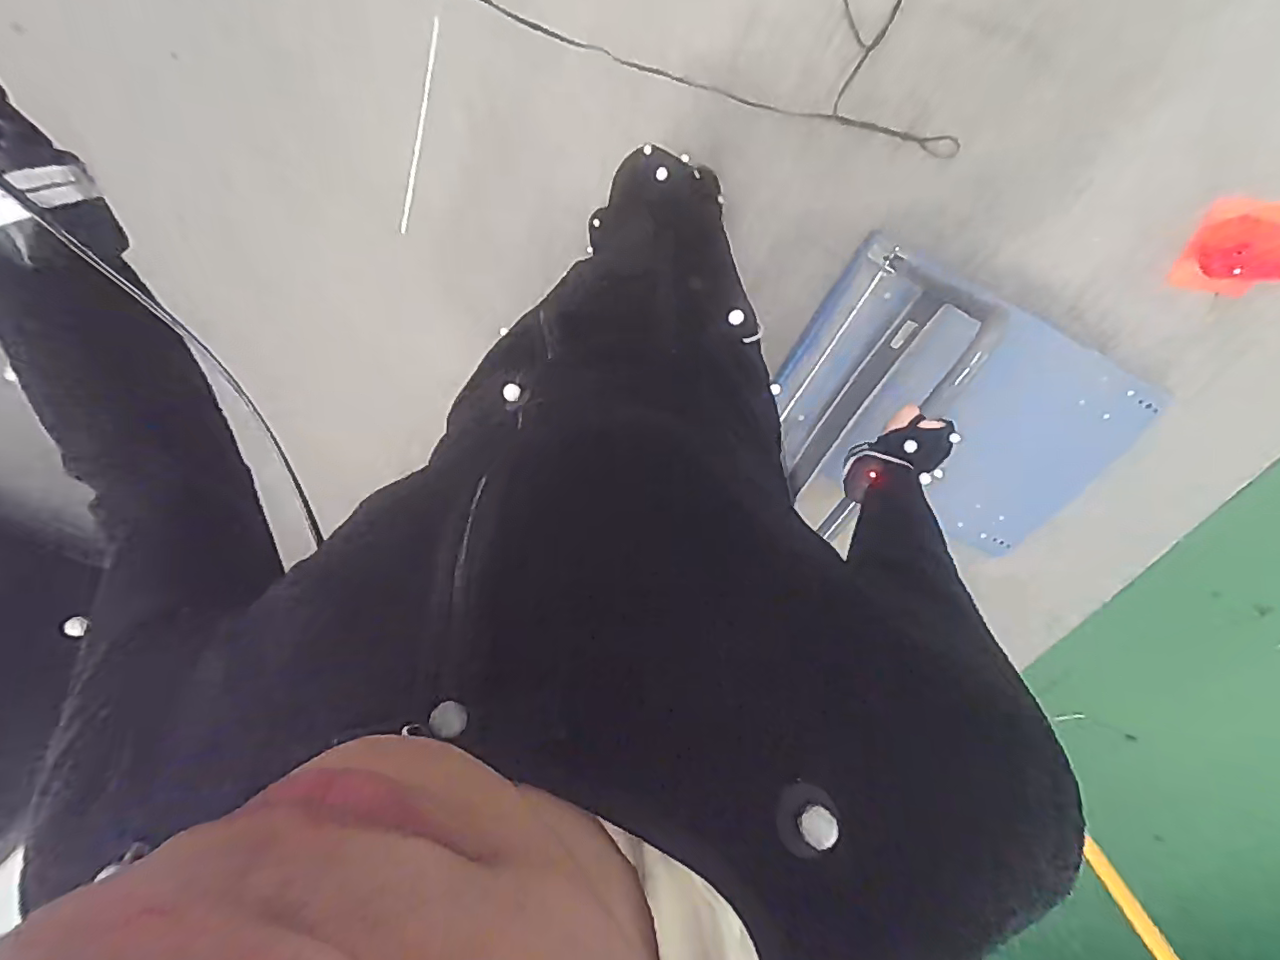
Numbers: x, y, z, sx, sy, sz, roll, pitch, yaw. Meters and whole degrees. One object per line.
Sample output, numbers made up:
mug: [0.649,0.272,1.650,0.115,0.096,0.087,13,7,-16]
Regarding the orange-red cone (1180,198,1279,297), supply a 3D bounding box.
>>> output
orange-red cone: [1.415,-0.466,1.137,0.198,0.360,0.199,10,119,-1]
